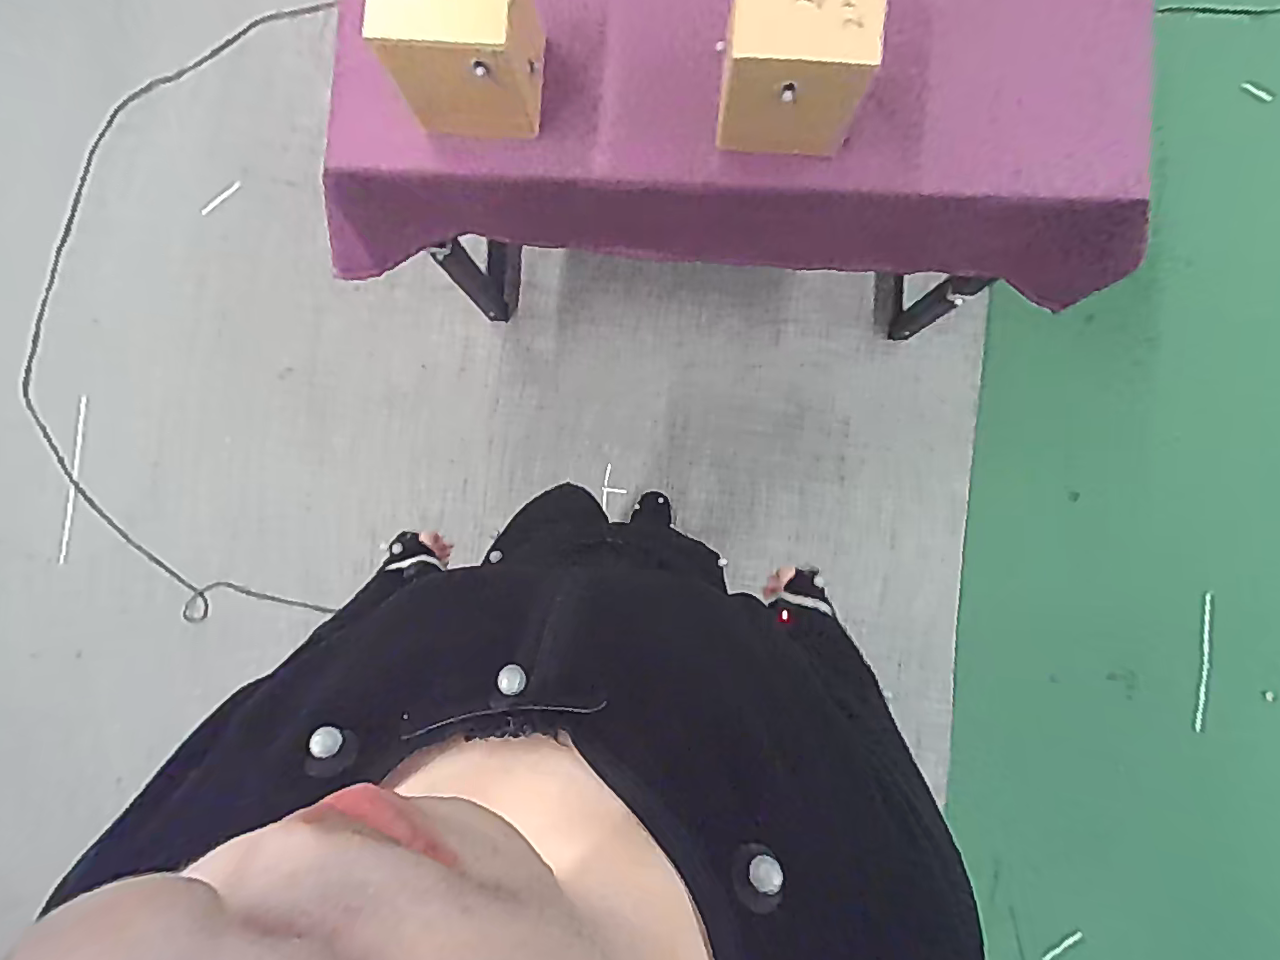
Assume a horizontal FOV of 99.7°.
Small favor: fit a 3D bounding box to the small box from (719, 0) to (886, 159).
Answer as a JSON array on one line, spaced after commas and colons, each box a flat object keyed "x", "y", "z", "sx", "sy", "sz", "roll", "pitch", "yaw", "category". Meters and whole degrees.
[{"x": 0.205, "y": -0.559, "z": 0.719, "sx": 0.179, "sy": 0.176, "sz": 0.168, "roll": 6, "pitch": 88, "yaw": 1, "category": "small box"}]

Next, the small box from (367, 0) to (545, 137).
[{"x": -0.234, "y": -0.597, "z": 0.729, "sx": 0.179, "sy": 0.176, "sz": 0.168, "roll": 4, "pitch": 87, "yaw": 0, "category": "small box"}]
